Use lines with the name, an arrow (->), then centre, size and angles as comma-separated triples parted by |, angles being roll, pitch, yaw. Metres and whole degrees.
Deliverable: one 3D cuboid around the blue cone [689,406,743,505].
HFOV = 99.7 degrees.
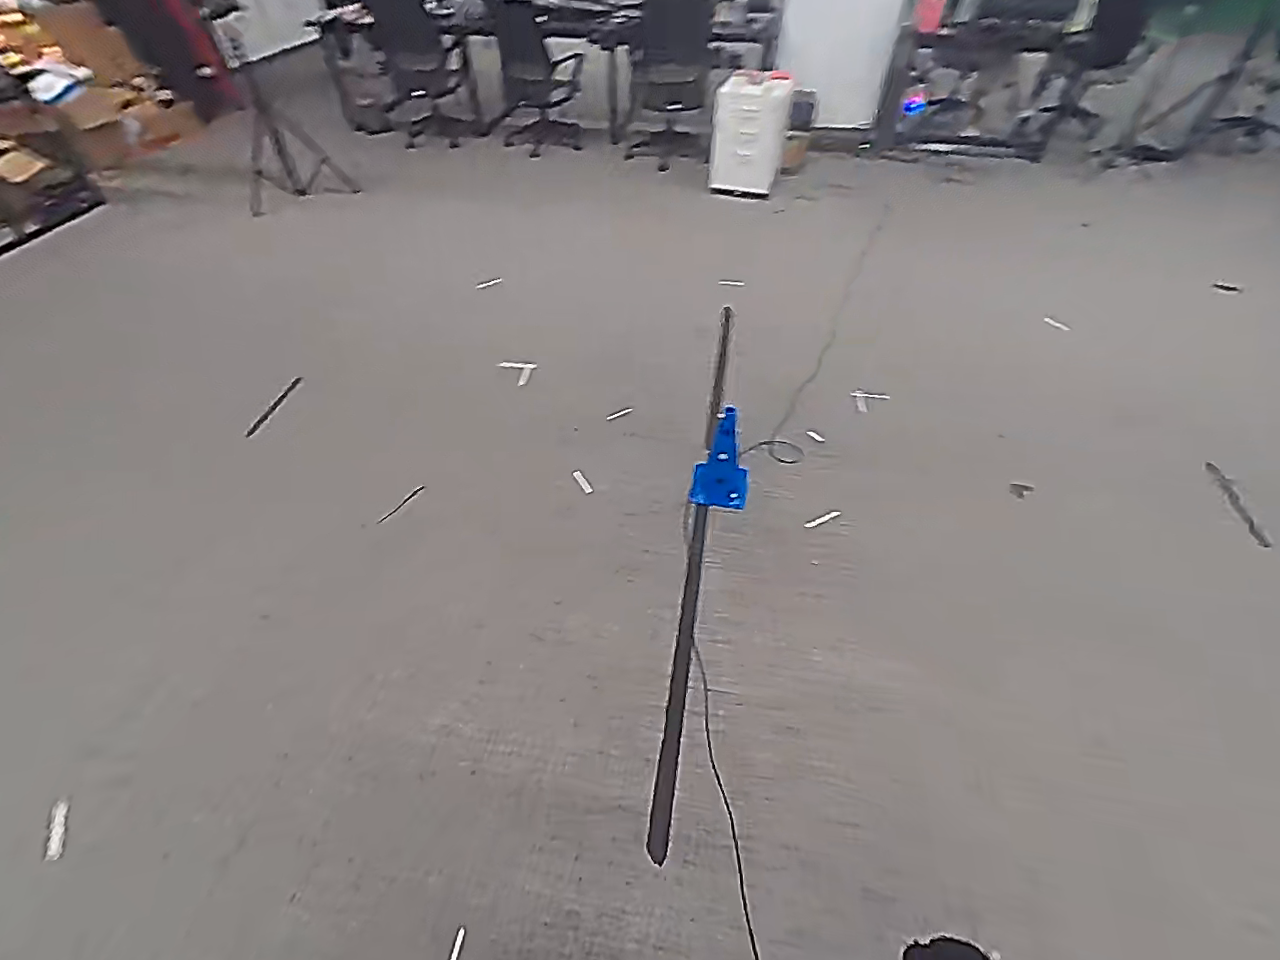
blue cone -> 0.277, -0.102, 1.834 | 0.193, 0.380, 0.192 | 6, 47, 5
